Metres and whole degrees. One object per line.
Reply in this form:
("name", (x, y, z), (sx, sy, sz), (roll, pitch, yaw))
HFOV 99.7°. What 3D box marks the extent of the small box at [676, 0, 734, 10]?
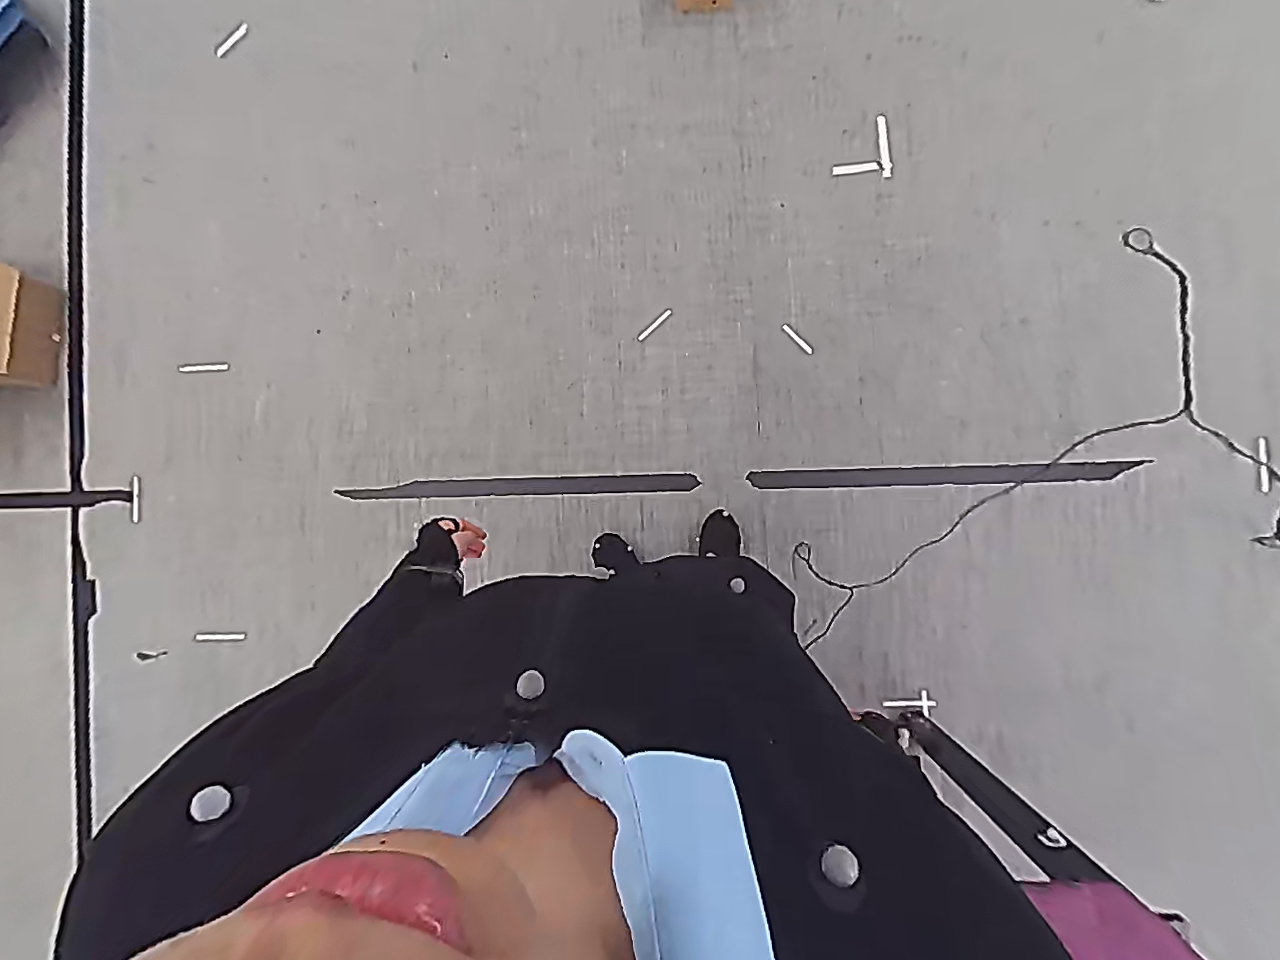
("small box", (0.181, -1.429, 1.471), (0.168, 0.176, 0.179), (1, 87, 4))
